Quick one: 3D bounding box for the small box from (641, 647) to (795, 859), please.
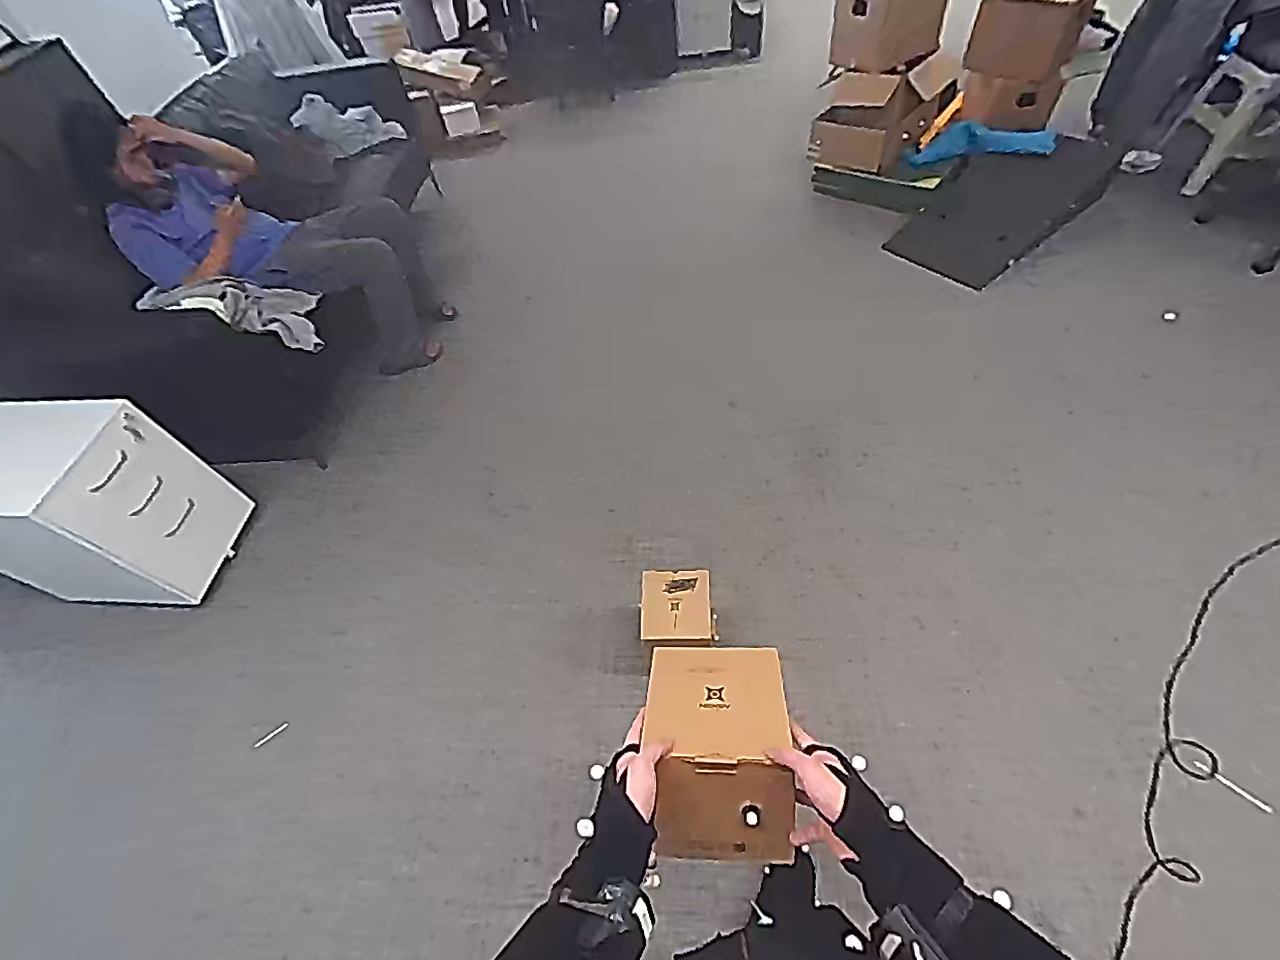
[{"bbox_3d":[0.096,0.332,0.673,0.168,0.176,0.179,-1,22,6],"label":"small box"}]

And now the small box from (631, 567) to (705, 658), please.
[{"bbox_3d":[0.075,0.334,1.348,0.168,0.176,0.179,0,54,9],"label":"small box"}]
